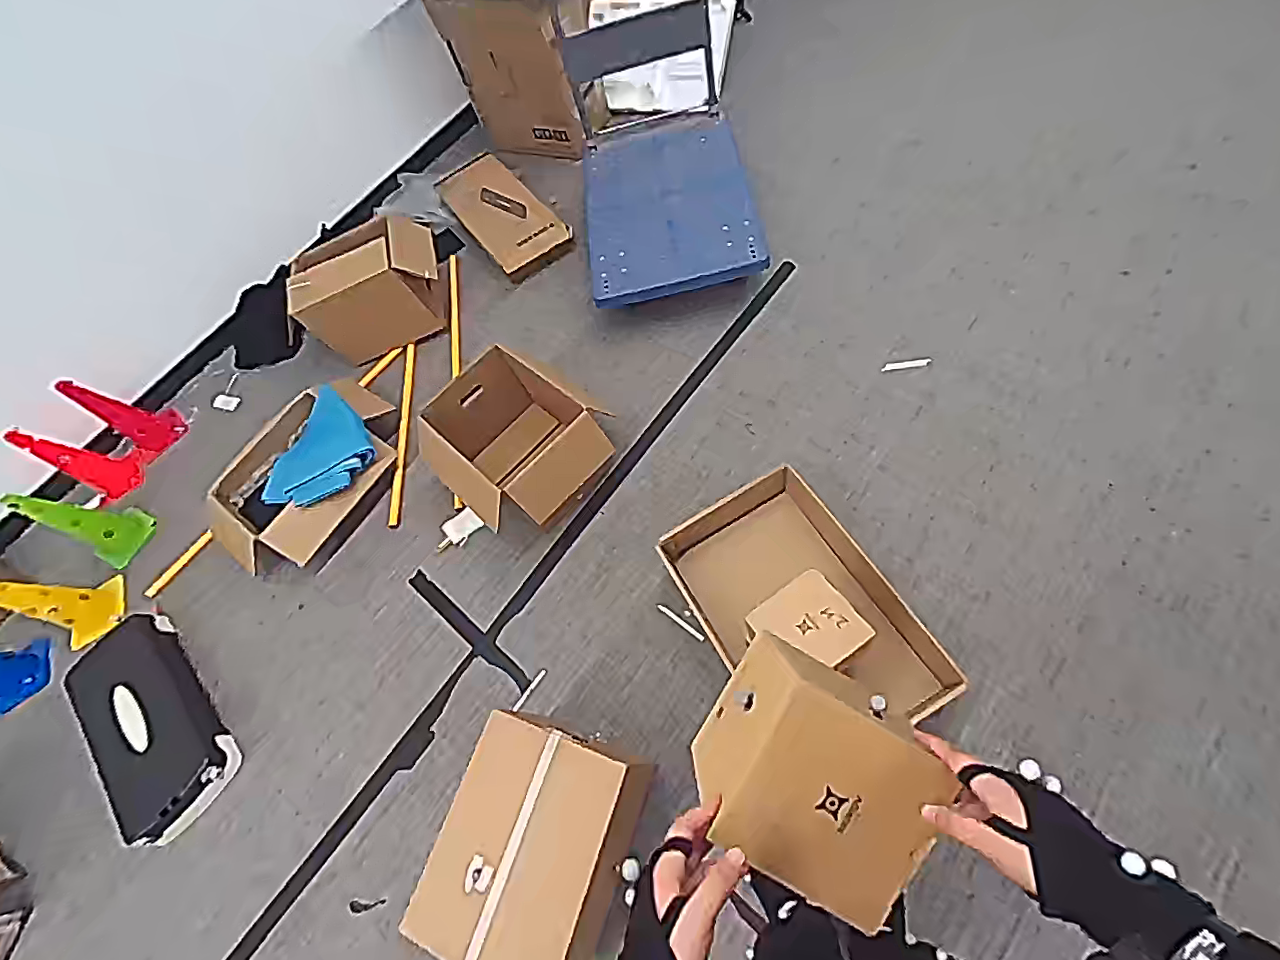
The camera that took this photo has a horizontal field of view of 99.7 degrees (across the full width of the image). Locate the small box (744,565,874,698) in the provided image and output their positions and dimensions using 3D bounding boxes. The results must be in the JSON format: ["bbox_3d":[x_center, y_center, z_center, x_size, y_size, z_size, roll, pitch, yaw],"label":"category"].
[{"bbox_3d":[0.328,0.304,1.063,0.179,0.176,0.168,-34,59,-6],"label":"small box"}]

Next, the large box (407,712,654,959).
[{"bbox_3d":[-0.193,0.745,1.136,0.320,0.320,0.408,13,68,20],"label":"large box"}]
